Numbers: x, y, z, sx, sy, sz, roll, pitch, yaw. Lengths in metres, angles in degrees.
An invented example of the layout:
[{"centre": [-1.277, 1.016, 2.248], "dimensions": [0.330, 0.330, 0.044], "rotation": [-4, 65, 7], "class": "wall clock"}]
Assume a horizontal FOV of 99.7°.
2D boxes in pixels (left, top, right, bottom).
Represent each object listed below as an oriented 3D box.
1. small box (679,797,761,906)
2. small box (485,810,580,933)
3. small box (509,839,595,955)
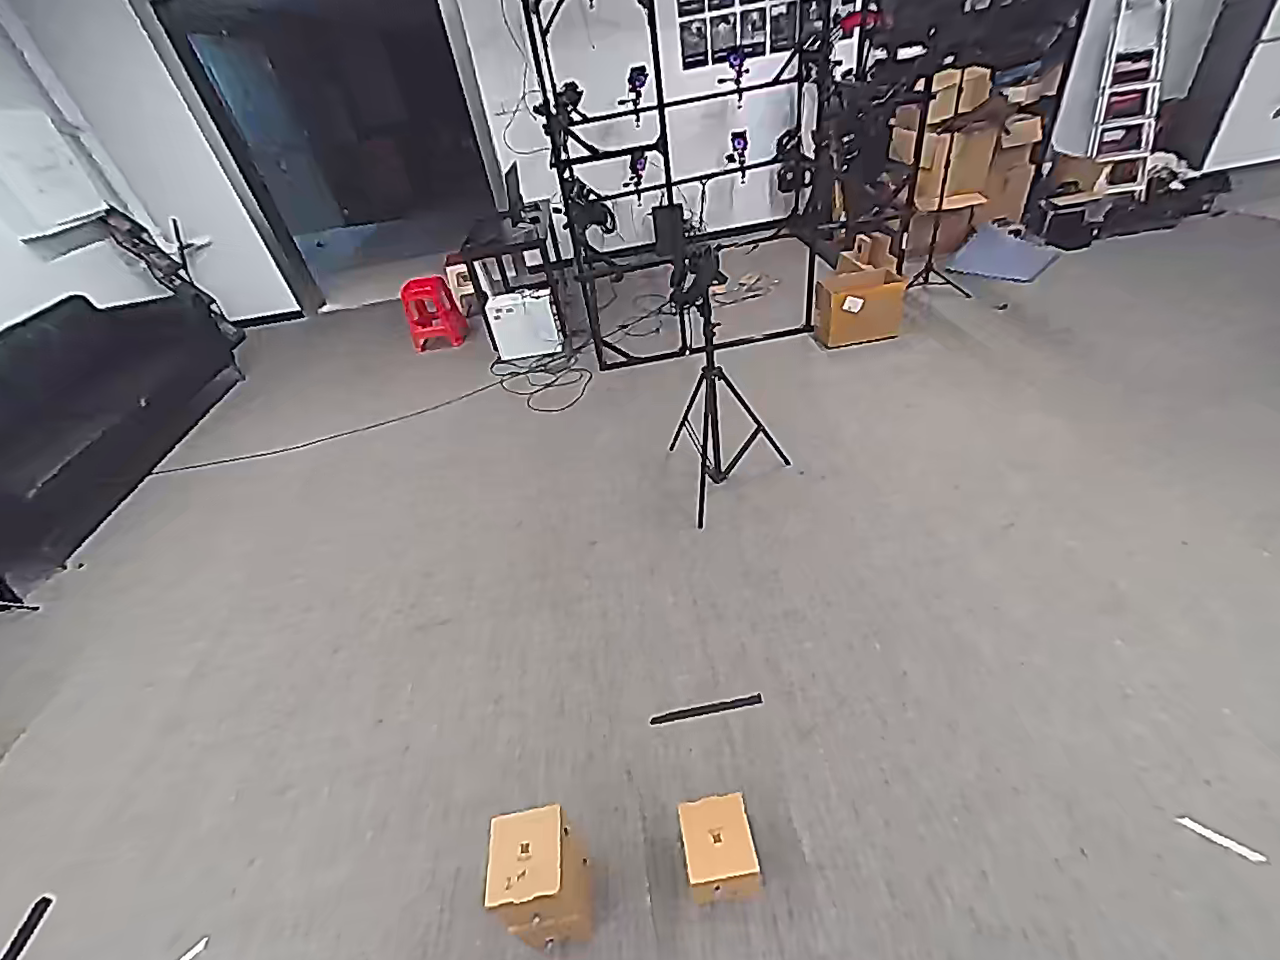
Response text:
[{"centre": [0.199, 0.926, 1.342], "dimensions": [0.168, 0.176, 0.179], "rotation": [-11, 38, -1], "class": "small box"}, {"centre": [-0.236, 0.889, 1.228], "dimensions": [0.168, 0.176, 0.179], "rotation": [-12, 39, 1], "class": "small box"}, {"centre": [-0.210, 1.020, 1.323], "dimensions": [0.168, 0.176, 0.179], "rotation": [-12, 38, 1], "class": "small box"}]
